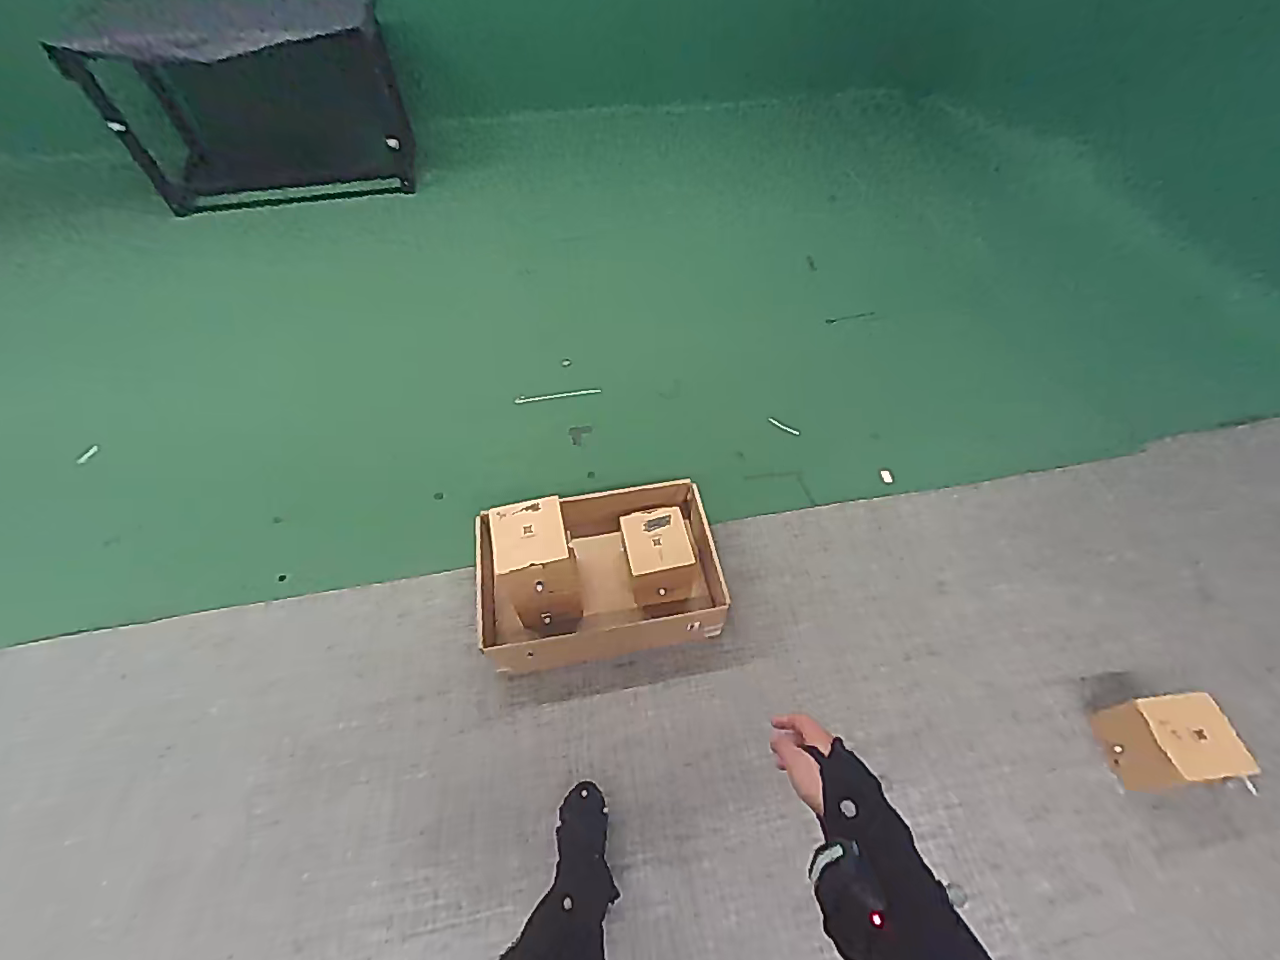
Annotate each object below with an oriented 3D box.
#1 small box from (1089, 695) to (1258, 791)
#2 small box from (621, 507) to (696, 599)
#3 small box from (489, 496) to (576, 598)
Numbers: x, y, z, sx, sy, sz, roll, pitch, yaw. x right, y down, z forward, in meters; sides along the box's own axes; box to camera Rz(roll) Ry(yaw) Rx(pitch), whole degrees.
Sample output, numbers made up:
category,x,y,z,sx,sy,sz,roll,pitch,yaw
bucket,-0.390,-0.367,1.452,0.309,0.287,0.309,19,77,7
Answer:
category,x,y,z,sx,sy,sz,roll,pitch,yaw
small box,1.192,0.599,1.227,0.179,0.176,0.168,-5,54,-3
small box,0.044,0.198,1.457,0.168,0.176,0.179,-11,57,-6
small box,-0.250,0.166,1.282,0.168,0.176,0.179,-11,56,-7
